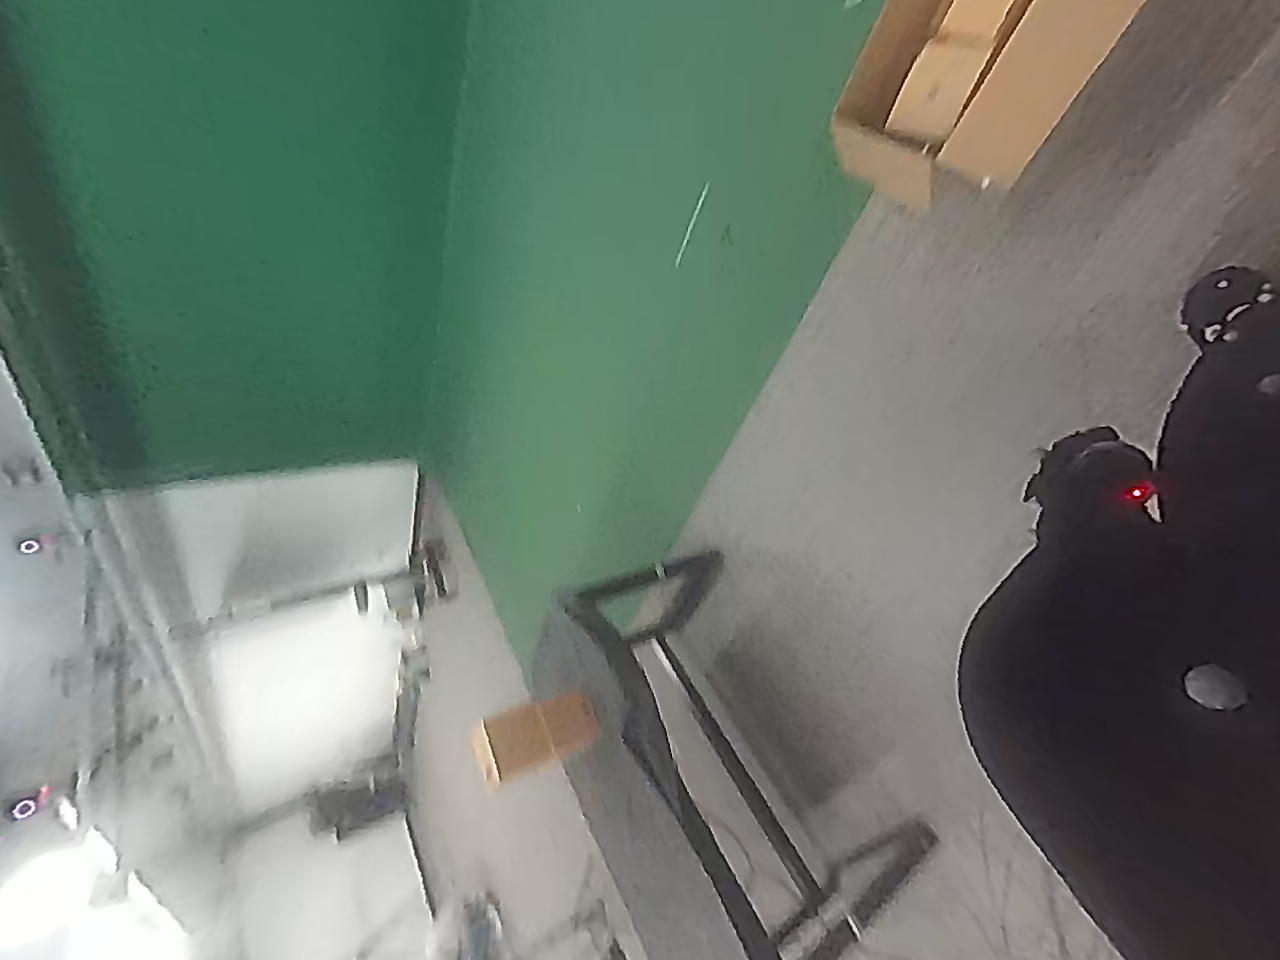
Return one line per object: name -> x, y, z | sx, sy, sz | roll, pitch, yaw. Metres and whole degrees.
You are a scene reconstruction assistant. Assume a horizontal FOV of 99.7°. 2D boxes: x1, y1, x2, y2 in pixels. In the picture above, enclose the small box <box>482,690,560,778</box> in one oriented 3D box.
small box -> -0.363, 0.775, 1.658 | 0.179, 0.176, 0.168 | 62, 140, 25
